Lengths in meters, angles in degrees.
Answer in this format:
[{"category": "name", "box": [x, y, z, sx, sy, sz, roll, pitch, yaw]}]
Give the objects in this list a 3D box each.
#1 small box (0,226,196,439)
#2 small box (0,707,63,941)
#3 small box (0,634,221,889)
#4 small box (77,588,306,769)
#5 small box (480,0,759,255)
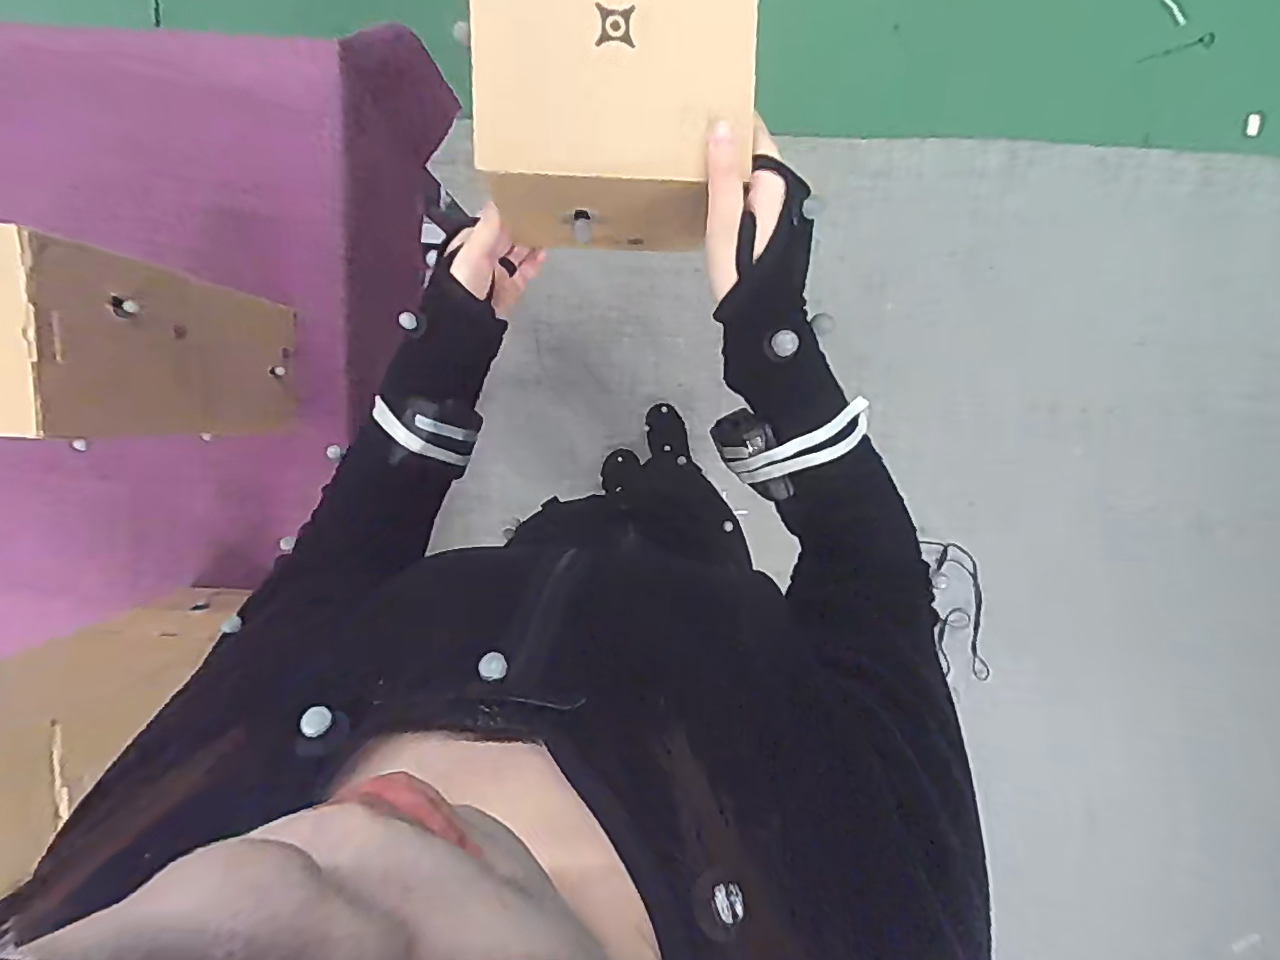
[{"category": "small box", "box": [-0.556, -0.130, 0.503, 0.179, 0.176, 0.168, 3, 97, -1]}, {"category": "small box", "box": [-0.578, 0.284, 0.388, 0.168, 0.176, 0.179, 4, 96, -1]}, {"category": "small box", "box": [-0.578, 0.269, 0.552, 0.179, 0.176, 0.168, 3, 98, -1]}, {"category": "small box", "box": [-0.574, 0.249, 0.716, 0.168, 0.176, 0.179, 1, 96, 0]}, {"category": "small box", "box": [-0.016, -0.275, 0.396, 0.168, 0.176, 0.179, 0, 98, -4]}]
